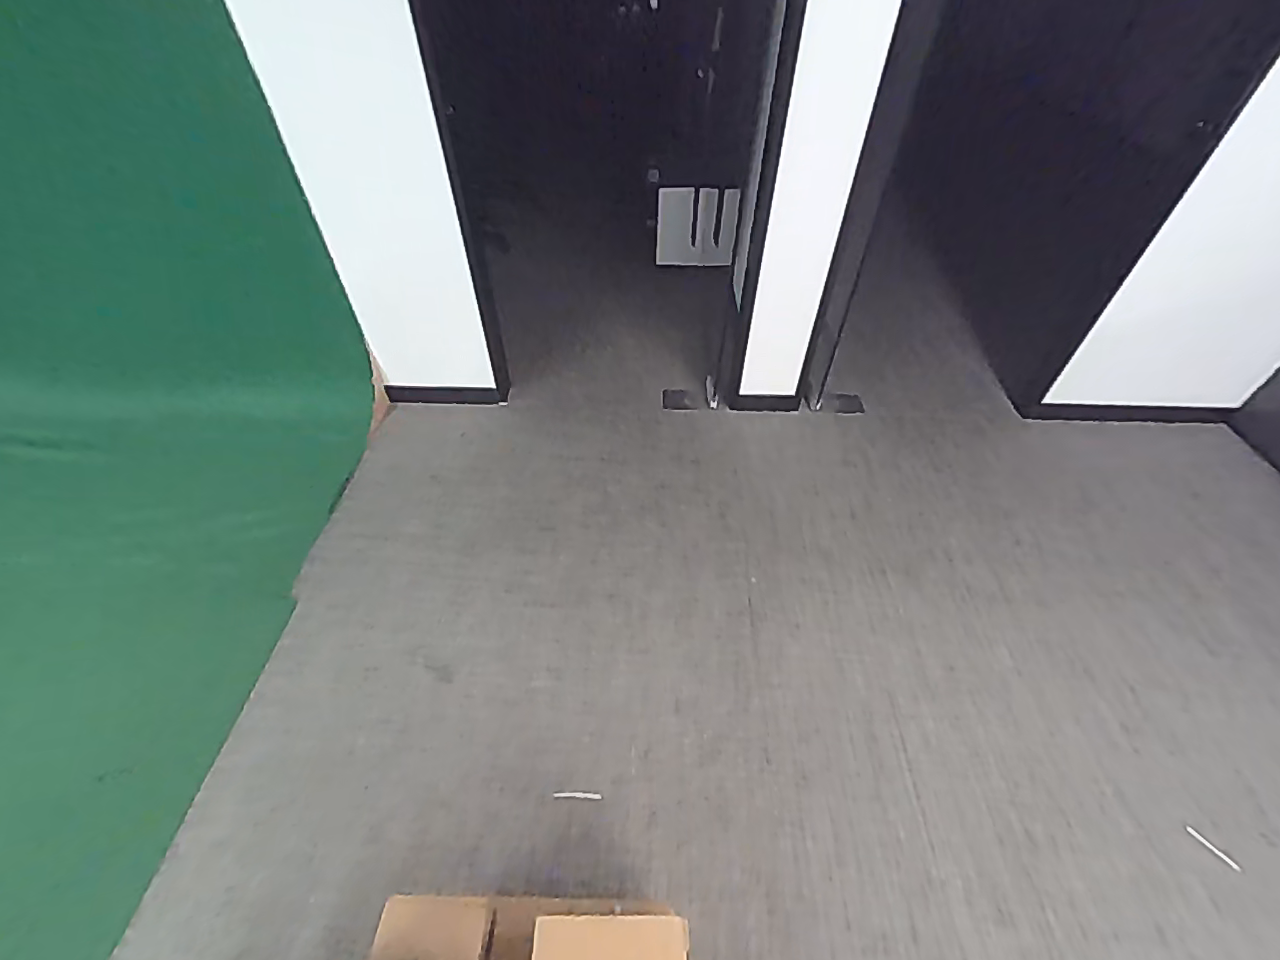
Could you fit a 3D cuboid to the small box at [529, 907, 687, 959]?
[{"bbox_3d":[-0.037,0.610,0.625,0.179,0.176,0.168,1,45,2],"label":"small box"}]
